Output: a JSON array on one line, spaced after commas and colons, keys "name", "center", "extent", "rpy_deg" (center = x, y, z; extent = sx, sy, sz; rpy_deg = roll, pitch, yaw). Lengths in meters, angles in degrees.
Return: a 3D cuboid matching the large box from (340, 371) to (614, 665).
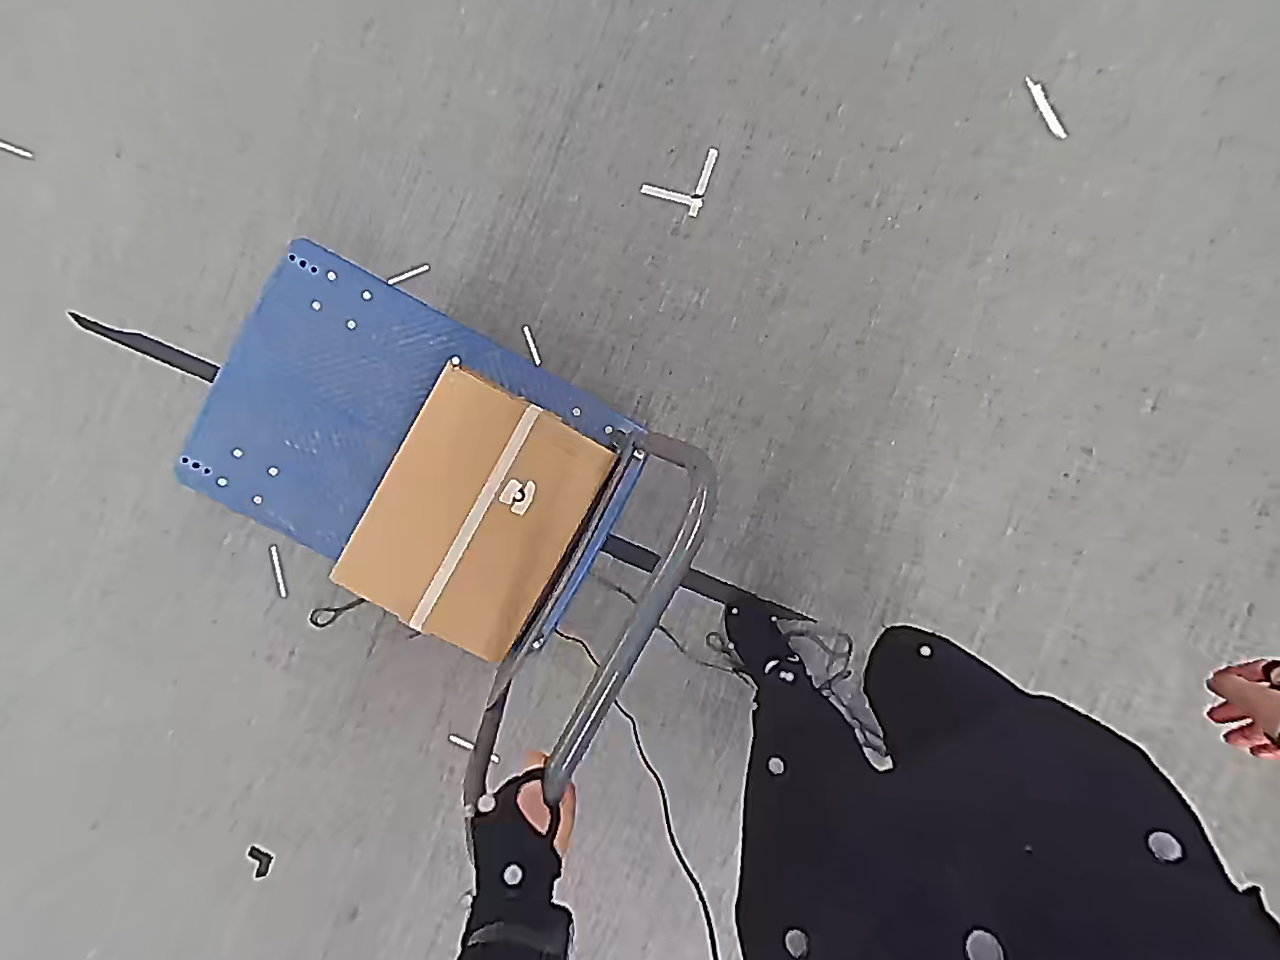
[{"name": "large box", "center": [-0.276, 0.062, 1.037], "extent": [0.320, 0.320, 0.408], "rpy_deg": [29, 90, -5]}]
